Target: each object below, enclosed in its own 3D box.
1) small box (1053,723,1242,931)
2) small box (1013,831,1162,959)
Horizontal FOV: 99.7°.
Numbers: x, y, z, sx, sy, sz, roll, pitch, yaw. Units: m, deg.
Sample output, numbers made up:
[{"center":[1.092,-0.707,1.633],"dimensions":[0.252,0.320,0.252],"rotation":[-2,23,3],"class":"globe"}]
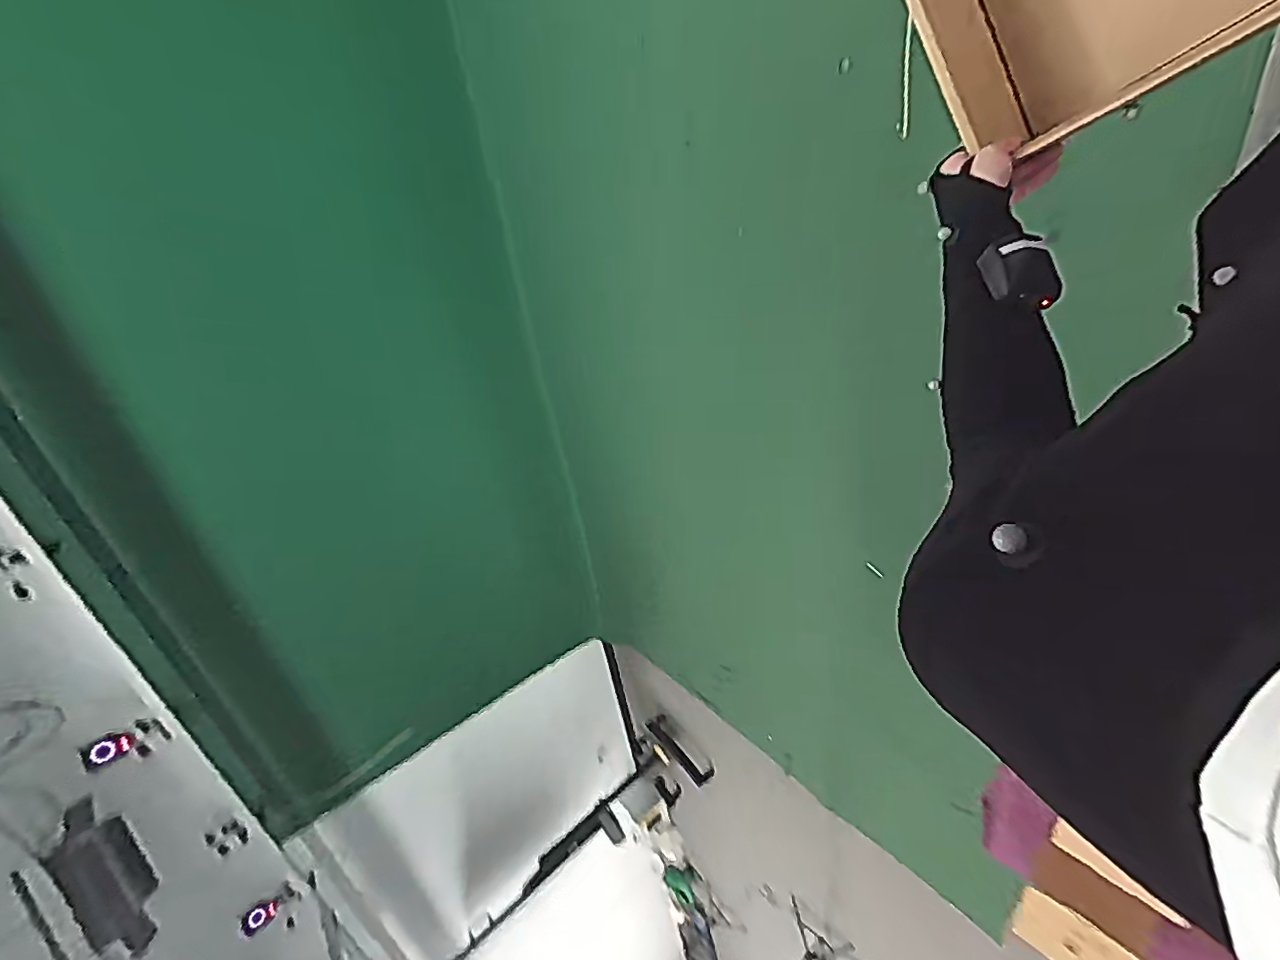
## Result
[{"center":[0.786,0.528,0.843],"dimensions":[0.168,0.176,0.179],"rotation":[23,133,45],"class":"small box"},{"center":[0.822,0.802,0.992],"dimensions":[0.168,0.176,0.179],"rotation":[21,128,45],"class":"small box"}]
